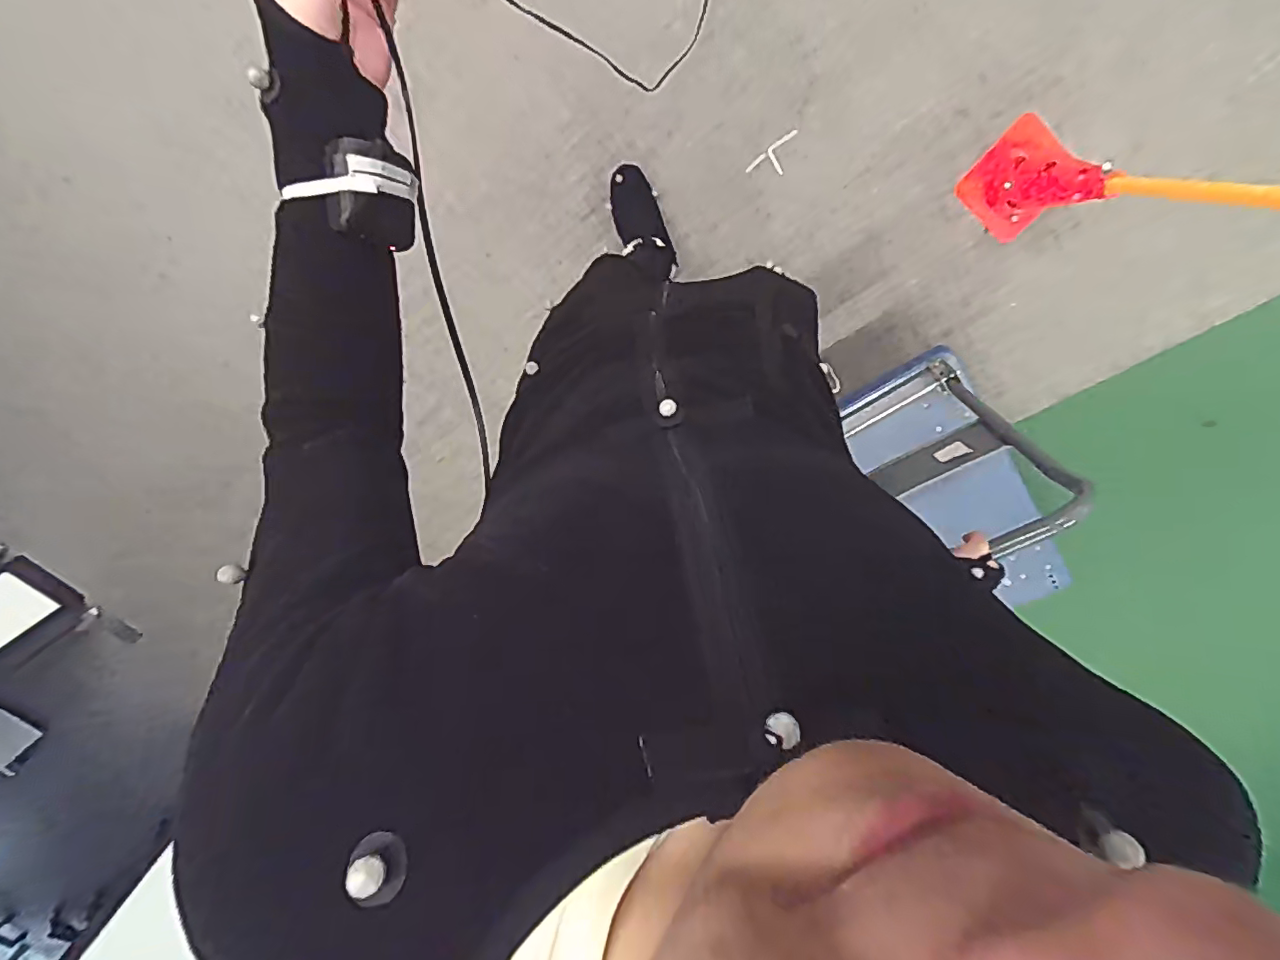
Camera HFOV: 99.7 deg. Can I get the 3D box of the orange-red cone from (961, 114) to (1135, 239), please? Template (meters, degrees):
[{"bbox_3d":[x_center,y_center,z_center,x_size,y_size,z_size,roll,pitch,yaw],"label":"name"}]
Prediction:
[{"bbox_3d":[0.855,-0.604,1.089,0.198,0.360,0.199,36,117,-15],"label":"orange-red cone"}]
